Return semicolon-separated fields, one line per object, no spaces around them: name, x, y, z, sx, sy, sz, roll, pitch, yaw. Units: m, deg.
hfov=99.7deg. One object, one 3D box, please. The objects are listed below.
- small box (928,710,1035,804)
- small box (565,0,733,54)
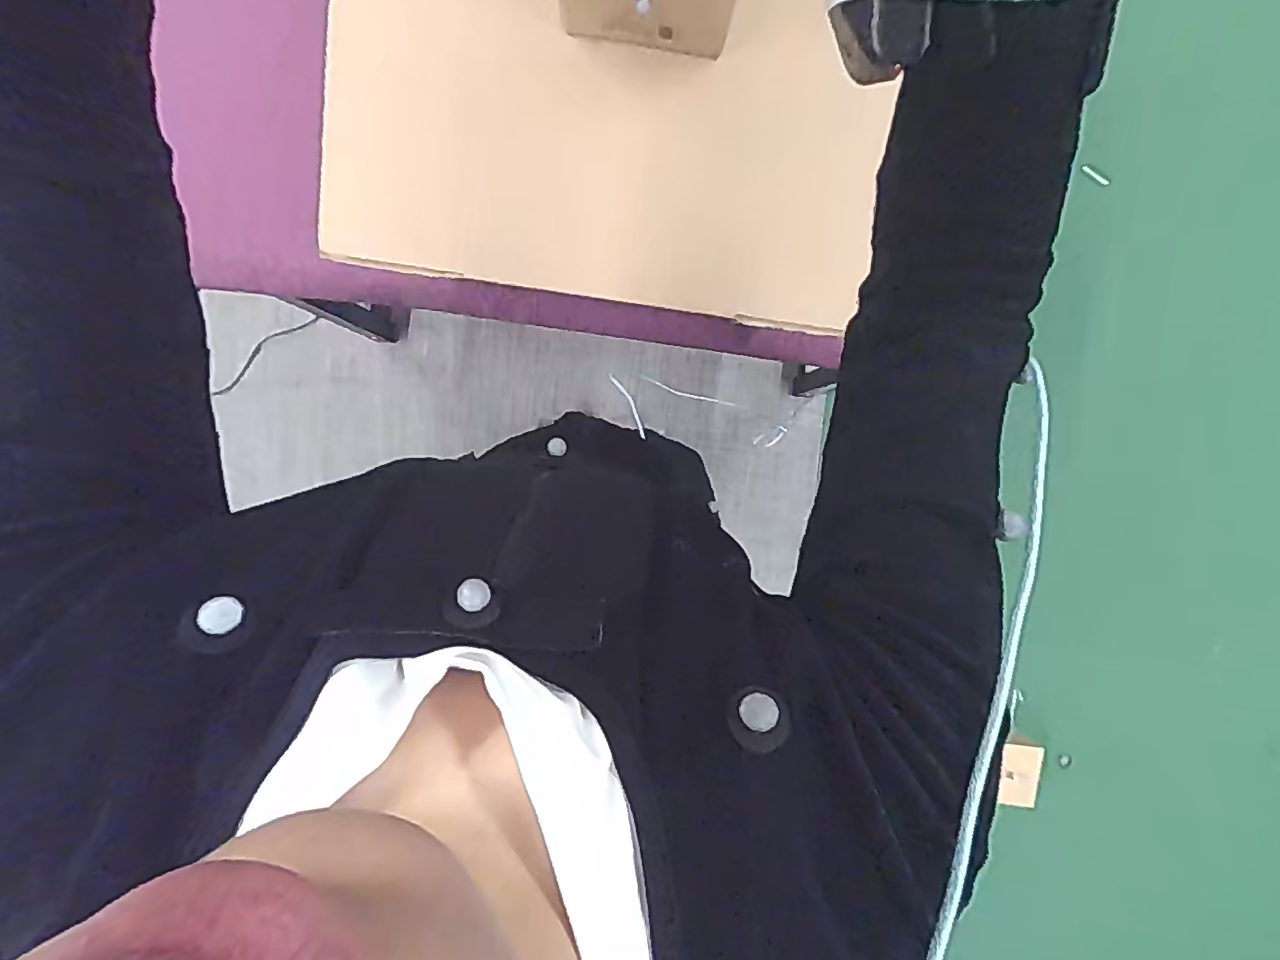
small box;0.933;0.757;1.495;0.179;0.176;0.168;8;93;-4
small box;0.017;-0.529;0.469;0.168;0.176;0.179;8;92;-2
